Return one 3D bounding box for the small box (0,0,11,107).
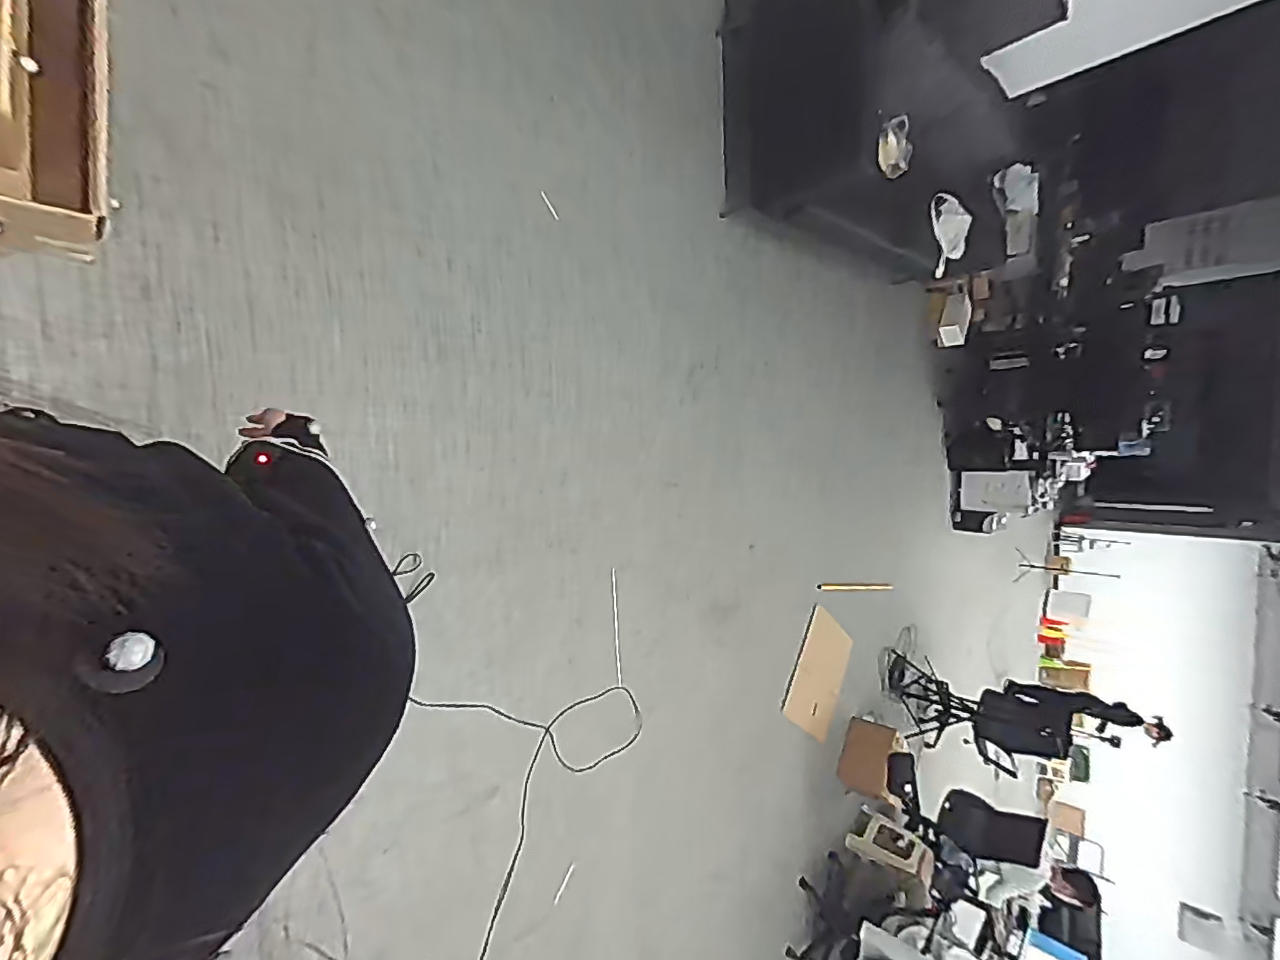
[{"bbox_3d":[-0.679,-0.472,0.463,0.168,0.176,0.179,3,91,-44],"label":"small box"}]
